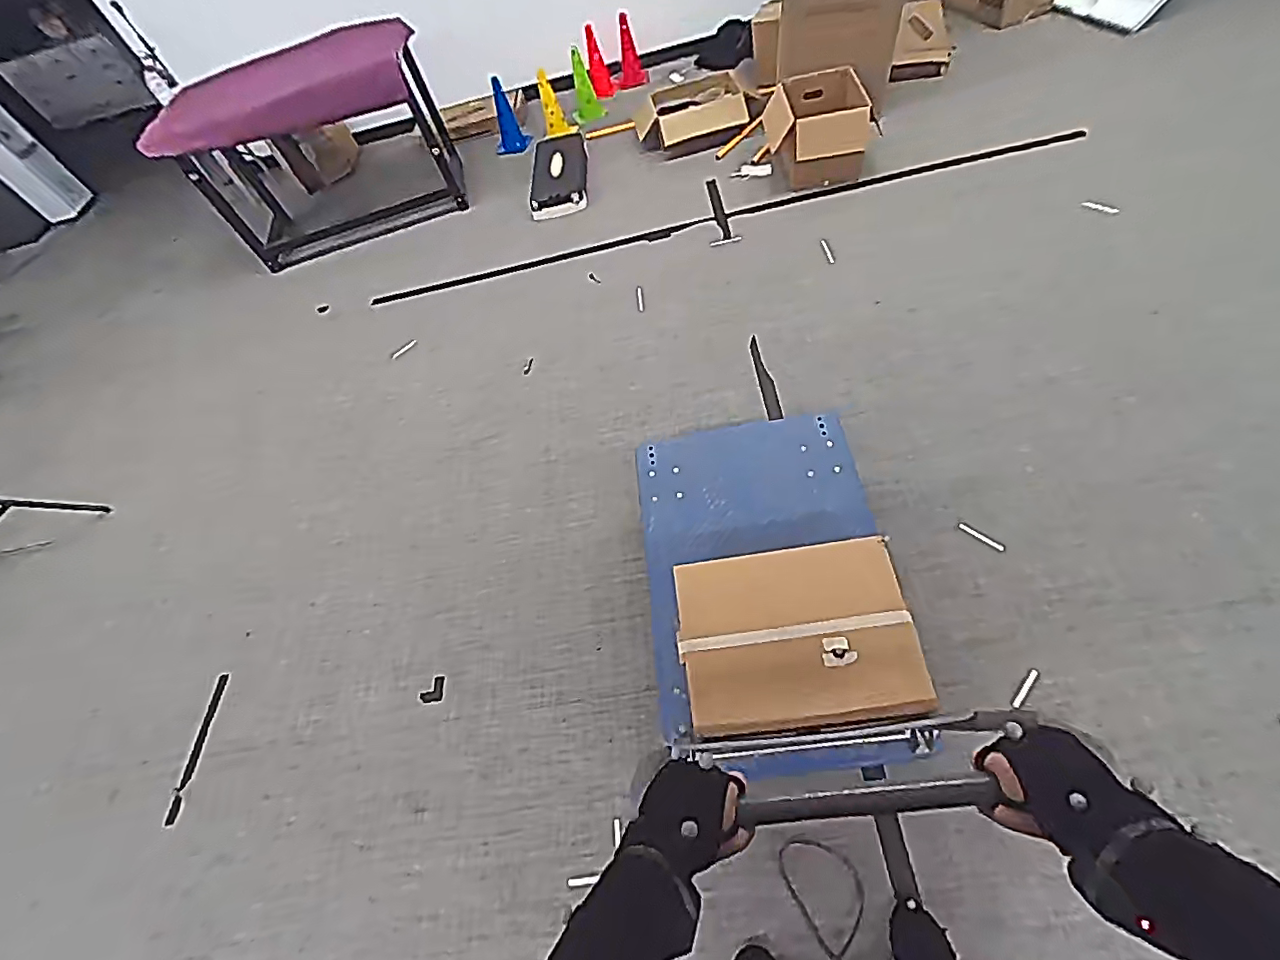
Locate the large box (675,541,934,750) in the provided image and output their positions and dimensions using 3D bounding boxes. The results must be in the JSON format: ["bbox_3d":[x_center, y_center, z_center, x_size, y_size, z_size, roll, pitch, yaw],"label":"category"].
[{"bbox_3d":[0.303,0.355,1.116,0.408,0.320,0.320,-10,61,5],"label":"large box"}]
